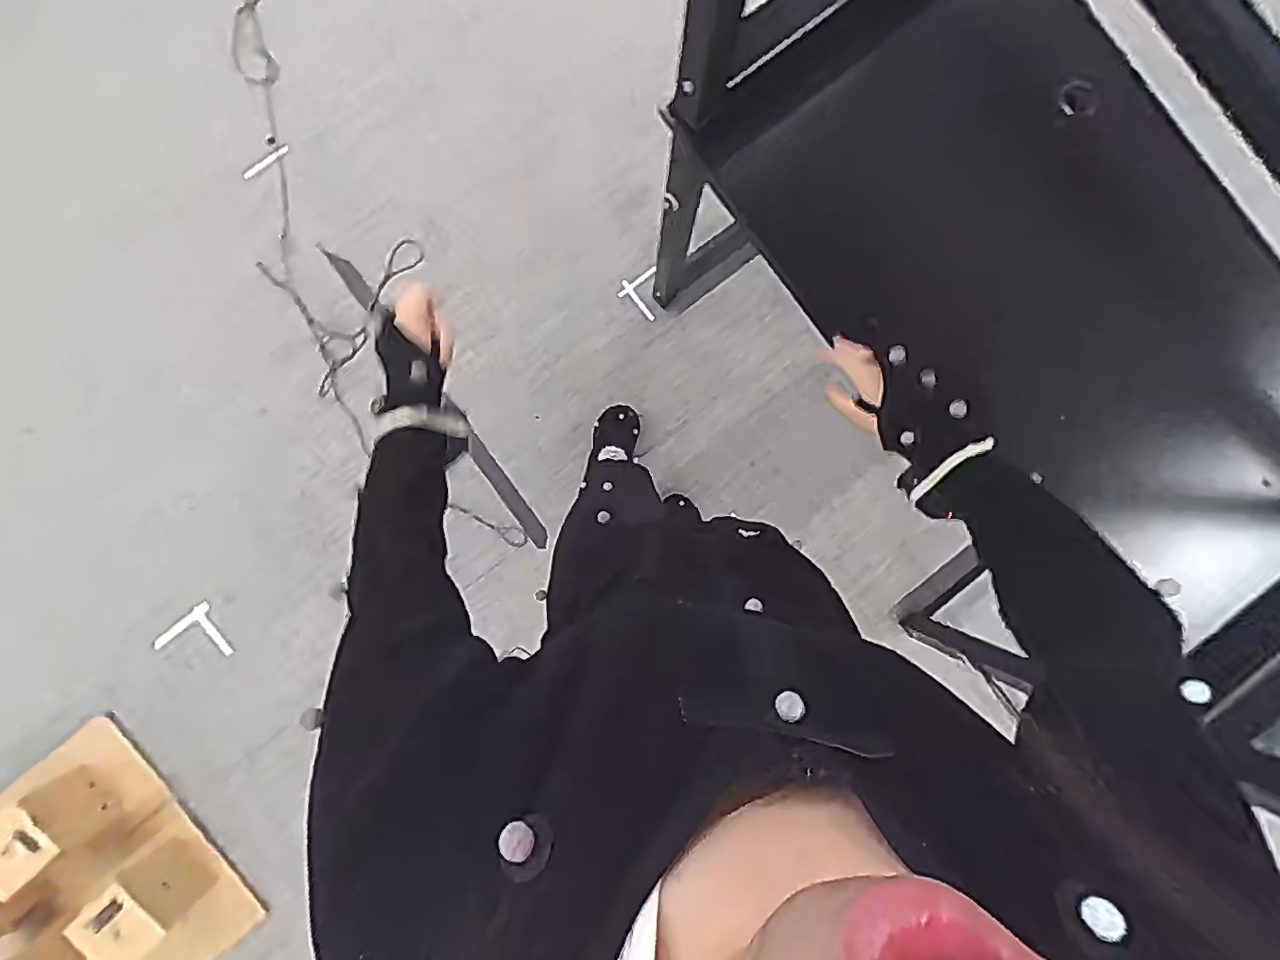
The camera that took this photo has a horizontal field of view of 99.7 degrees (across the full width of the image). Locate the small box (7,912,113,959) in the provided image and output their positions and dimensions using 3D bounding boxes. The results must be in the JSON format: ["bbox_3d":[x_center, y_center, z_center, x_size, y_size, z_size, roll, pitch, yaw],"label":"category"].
[{"bbox_3d":[-1.482,1.234,1.331,0.168,0.176,0.179,-43,91,-2],"label":"small box"}]

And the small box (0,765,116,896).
[{"bbox_3d":[-1.469,0.854,1.339,0.179,0.176,0.168,-42,90,-2],"label":"small box"}]

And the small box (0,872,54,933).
[{"bbox_3d":[-1.643,1.050,1.333,0.168,0.176,0.179,-43,91,-1],"label":"small box"}]
